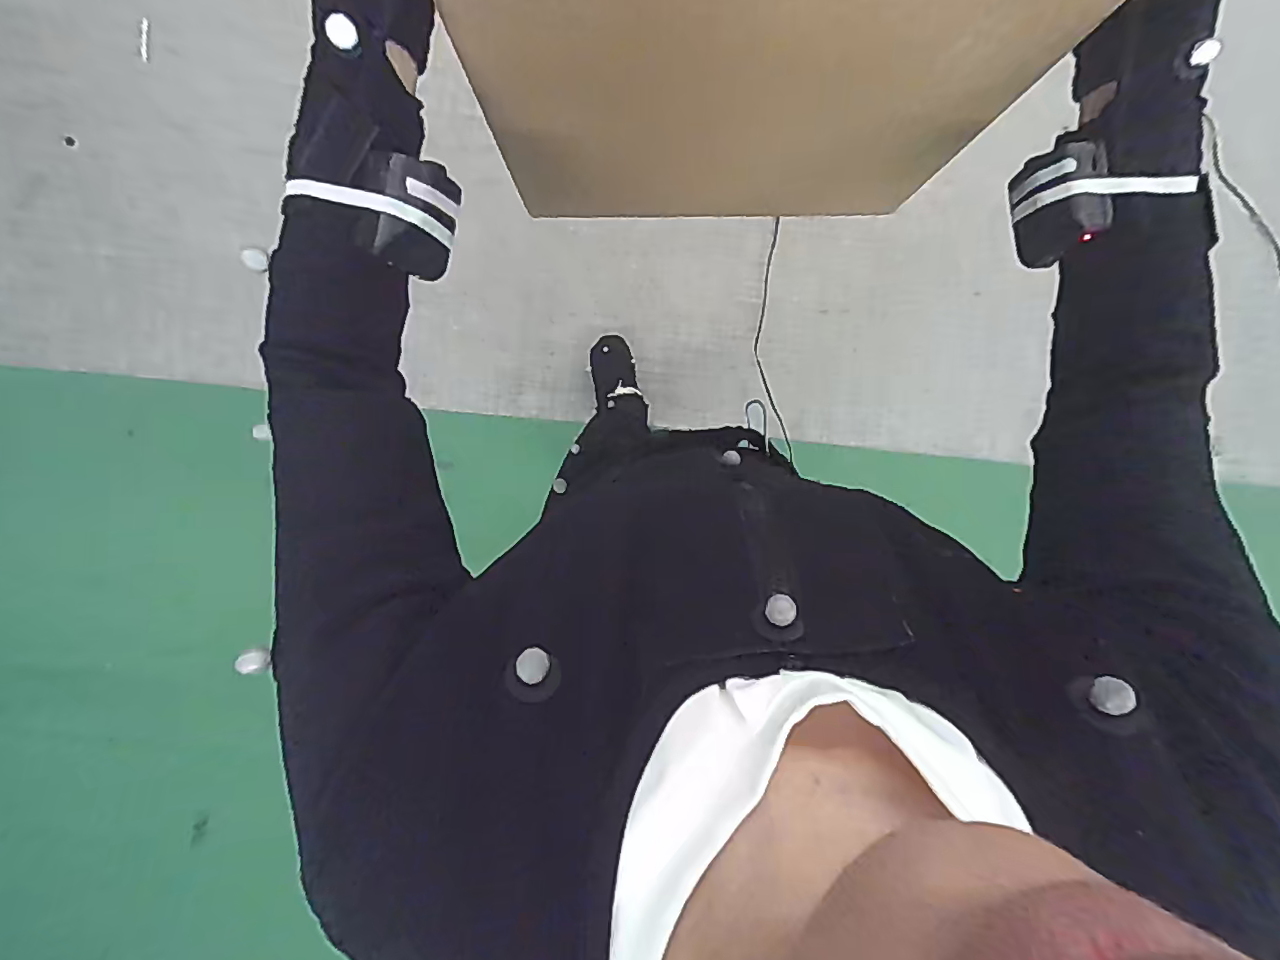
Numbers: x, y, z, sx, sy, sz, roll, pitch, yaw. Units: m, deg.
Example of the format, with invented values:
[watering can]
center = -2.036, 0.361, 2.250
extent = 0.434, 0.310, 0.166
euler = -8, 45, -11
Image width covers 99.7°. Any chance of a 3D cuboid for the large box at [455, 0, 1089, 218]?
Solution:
[large box]
center = 0.075, -0.441, 0.447
extent = 0.408, 0.320, 0.320
euler = -2, 93, -2
